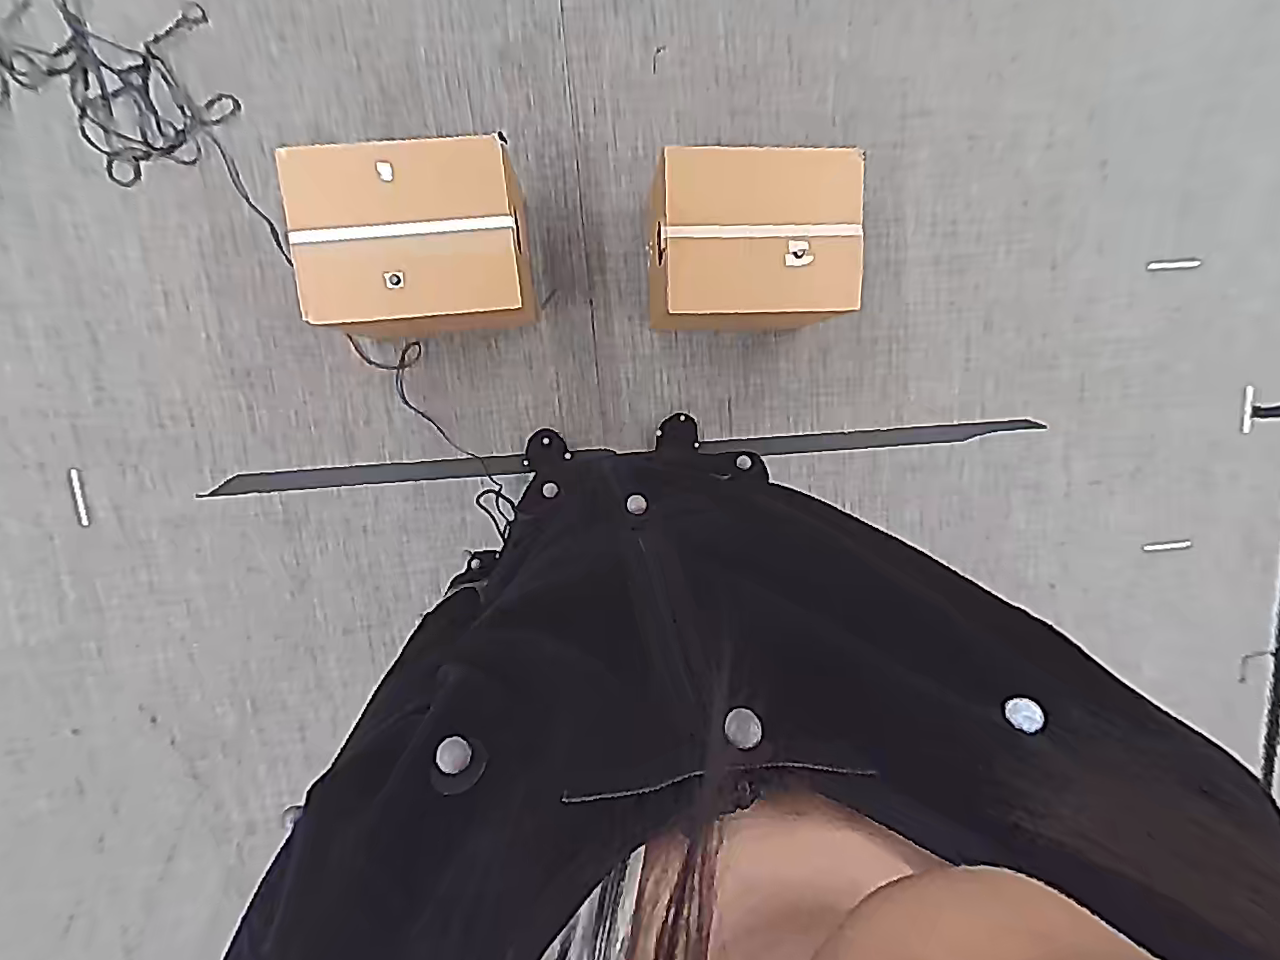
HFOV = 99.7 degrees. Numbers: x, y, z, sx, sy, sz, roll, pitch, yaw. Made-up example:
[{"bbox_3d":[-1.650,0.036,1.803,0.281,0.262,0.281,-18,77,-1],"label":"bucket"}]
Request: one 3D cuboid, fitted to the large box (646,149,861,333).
[{"bbox_3d":[0.235,-0.519,1.231,0.408,0.320,0.320,-3,99,-6],"label":"large box"}]
